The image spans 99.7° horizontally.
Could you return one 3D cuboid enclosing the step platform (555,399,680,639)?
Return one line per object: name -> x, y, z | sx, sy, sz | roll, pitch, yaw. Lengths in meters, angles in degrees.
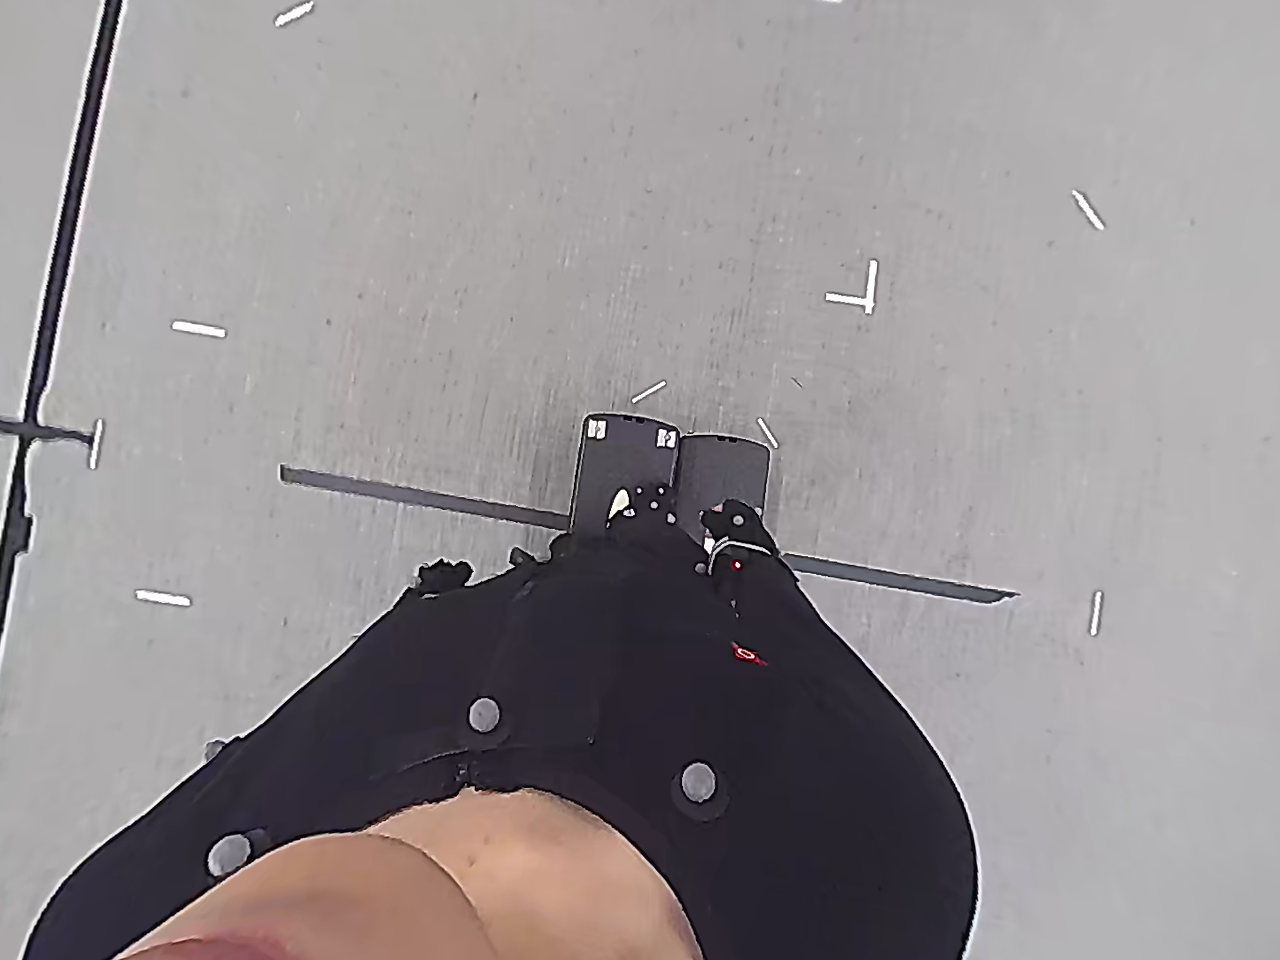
step platform -> -0.064, 0.109, 1.578 | 0.286, 0.204, 0.684 | 7, 87, -3
